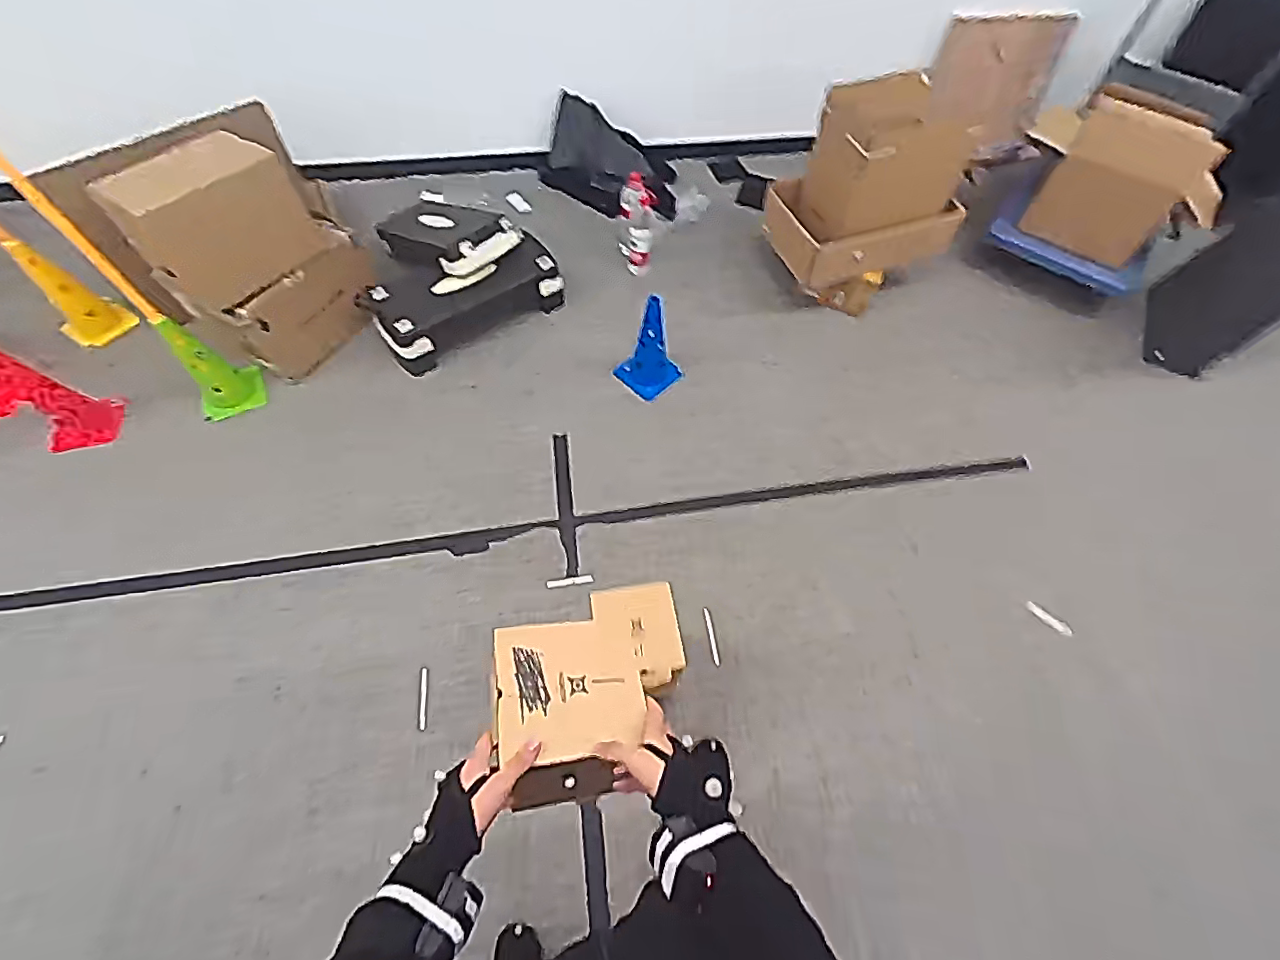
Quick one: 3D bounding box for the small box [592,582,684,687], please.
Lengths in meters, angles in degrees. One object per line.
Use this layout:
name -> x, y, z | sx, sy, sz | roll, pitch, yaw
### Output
small box -> -0.012, 0.330, 1.127 | 0.168, 0.176, 0.179 | -6, 61, -7

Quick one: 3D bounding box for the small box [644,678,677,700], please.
small box -> -0.005, 0.483, 1.421 | 0.168, 0.176, 0.179 | -10, 61, -8

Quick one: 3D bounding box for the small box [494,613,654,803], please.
small box -> -0.089, 0.297, 0.702 | 0.179, 0.176, 0.168 | -5, 48, -12
